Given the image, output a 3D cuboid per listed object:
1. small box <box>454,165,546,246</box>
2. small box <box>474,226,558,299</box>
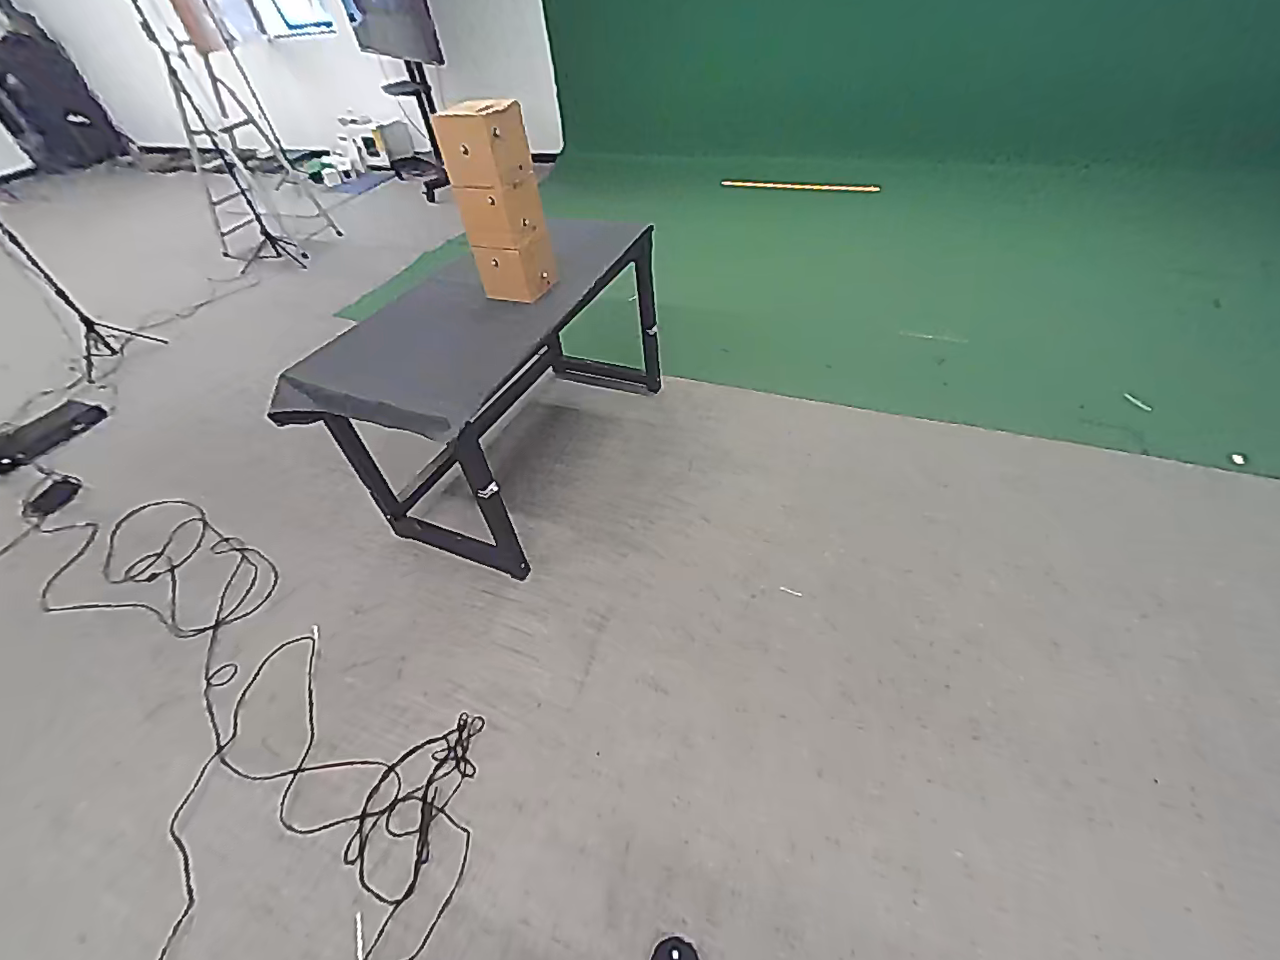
[{"bbox_3d":[-0.400,-0.798,1.571,0.179,0.176,0.168,15,48,20],"label":"small box"},{"bbox_3d":[-0.380,-0.683,1.684,0.179,0.176,0.168,15,49,21],"label":"small box"}]
